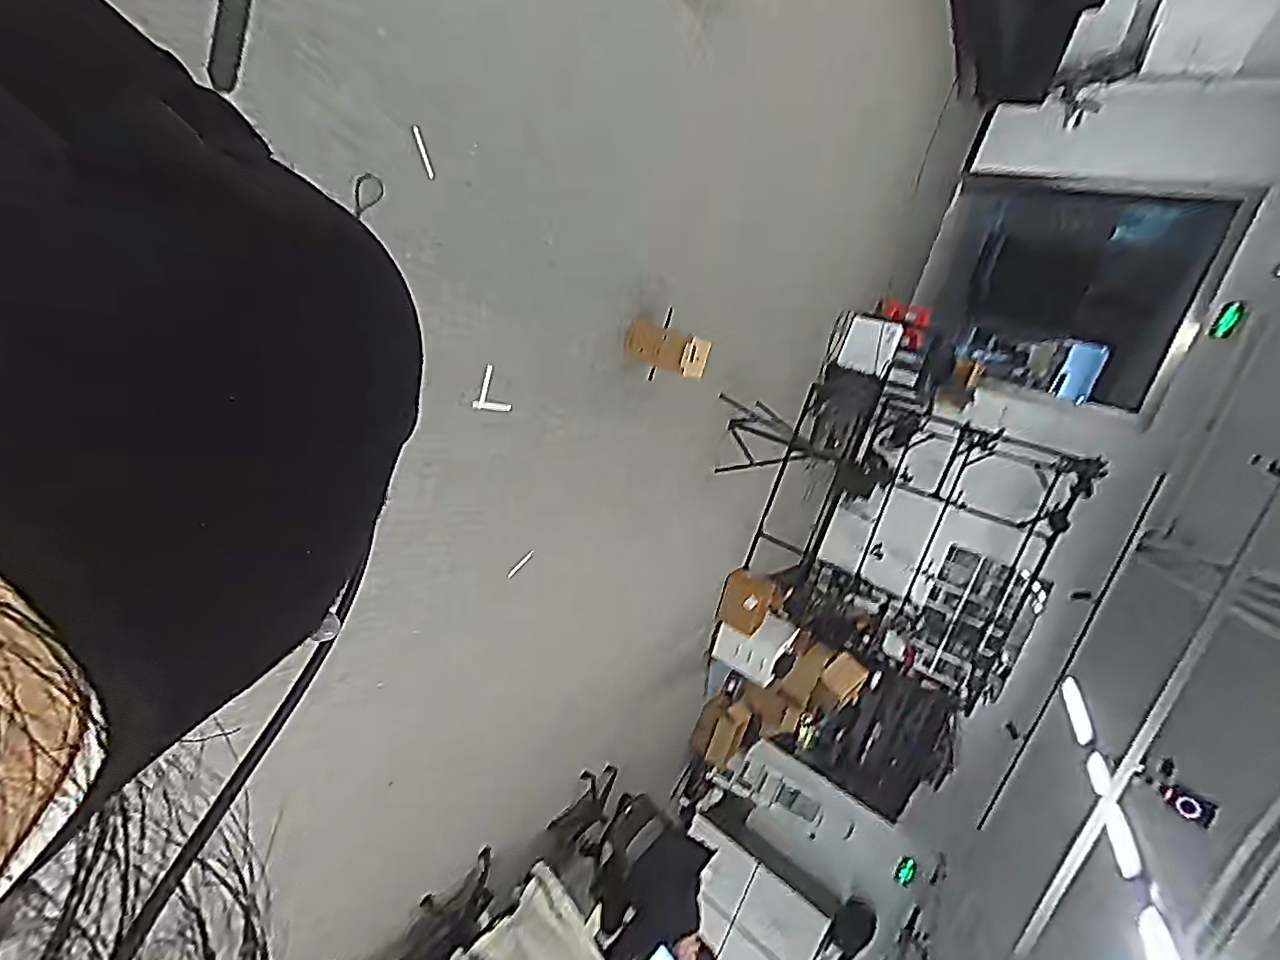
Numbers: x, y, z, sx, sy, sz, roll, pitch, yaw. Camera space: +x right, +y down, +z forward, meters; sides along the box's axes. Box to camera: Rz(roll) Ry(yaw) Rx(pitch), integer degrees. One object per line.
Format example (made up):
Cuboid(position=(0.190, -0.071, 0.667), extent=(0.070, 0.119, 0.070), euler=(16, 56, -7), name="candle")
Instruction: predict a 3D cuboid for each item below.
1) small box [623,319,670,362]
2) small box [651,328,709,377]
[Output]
Cuboid(position=(0.045, -0.629, 2.465), extent=(0.179, 0.176, 0.168), euler=(-7, 118, -56), name="small box")
Cuboid(position=(0.172, -0.565, 2.383), extent=(0.179, 0.176, 0.168), euler=(-5, 116, -56), name="small box")
